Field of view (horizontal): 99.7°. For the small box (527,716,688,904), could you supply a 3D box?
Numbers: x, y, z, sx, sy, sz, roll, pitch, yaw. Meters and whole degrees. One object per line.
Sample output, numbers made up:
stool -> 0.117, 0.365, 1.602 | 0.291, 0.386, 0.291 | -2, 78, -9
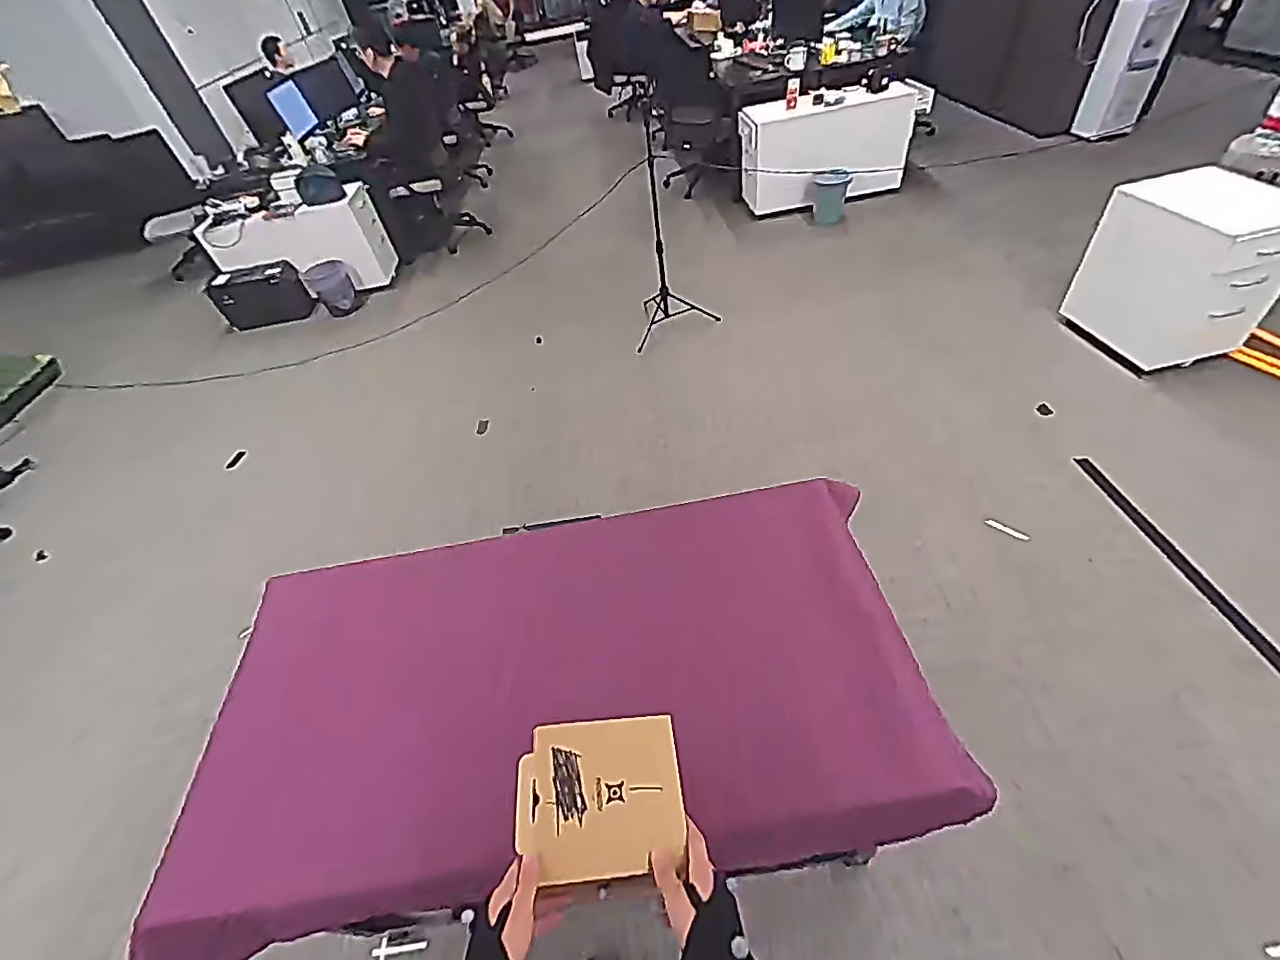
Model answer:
small box -> -0.046, 0.420, 0.687 | 0.179, 0.176, 0.168 | -1, 47, -7
